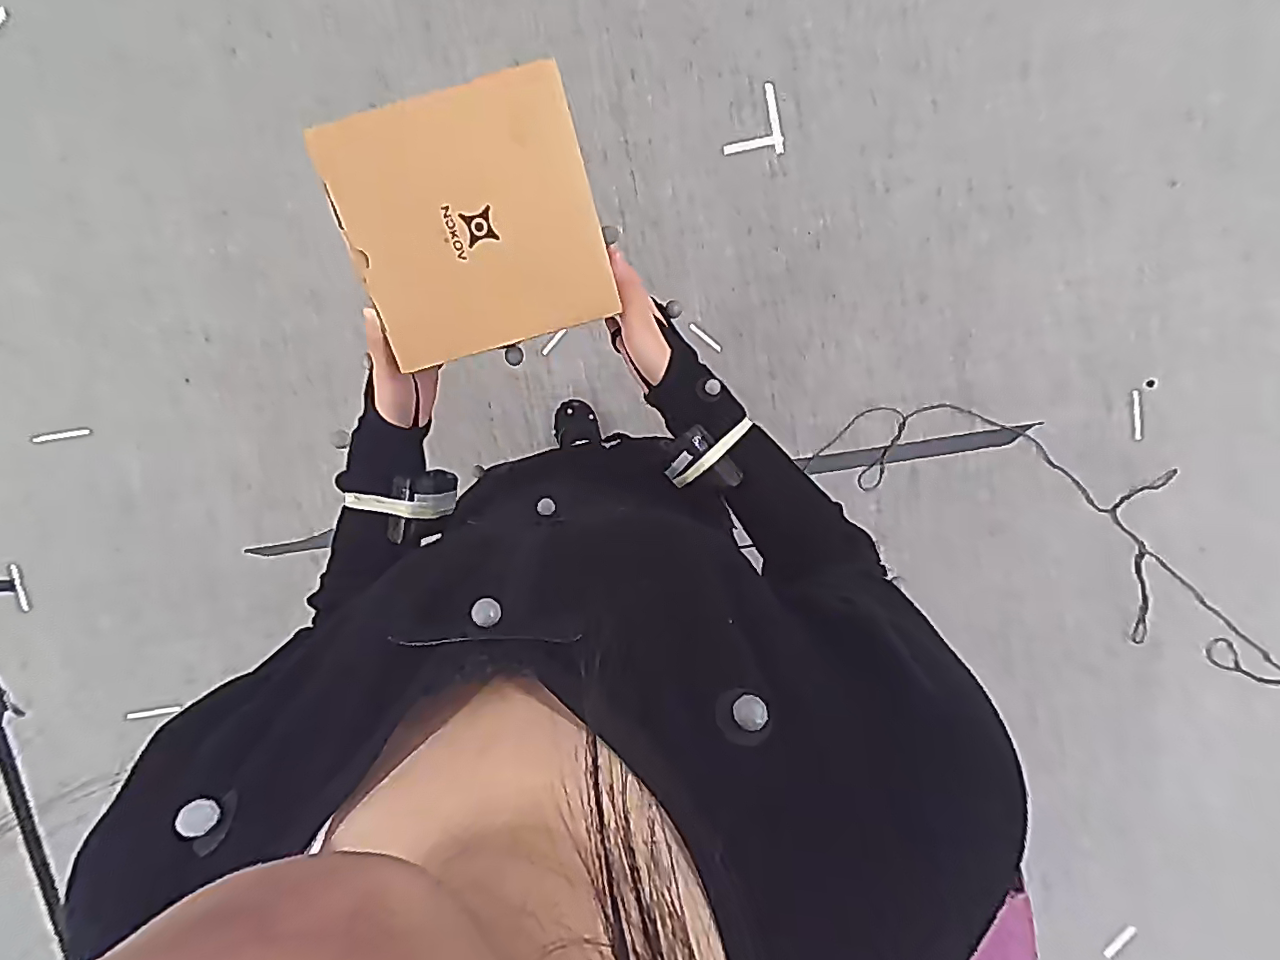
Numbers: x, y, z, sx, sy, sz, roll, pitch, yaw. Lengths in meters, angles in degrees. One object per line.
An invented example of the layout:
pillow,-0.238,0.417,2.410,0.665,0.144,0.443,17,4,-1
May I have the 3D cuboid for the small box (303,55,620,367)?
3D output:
small box,-0.124,-0.206,0.452,0.179,0.176,0.168,-15,109,2
